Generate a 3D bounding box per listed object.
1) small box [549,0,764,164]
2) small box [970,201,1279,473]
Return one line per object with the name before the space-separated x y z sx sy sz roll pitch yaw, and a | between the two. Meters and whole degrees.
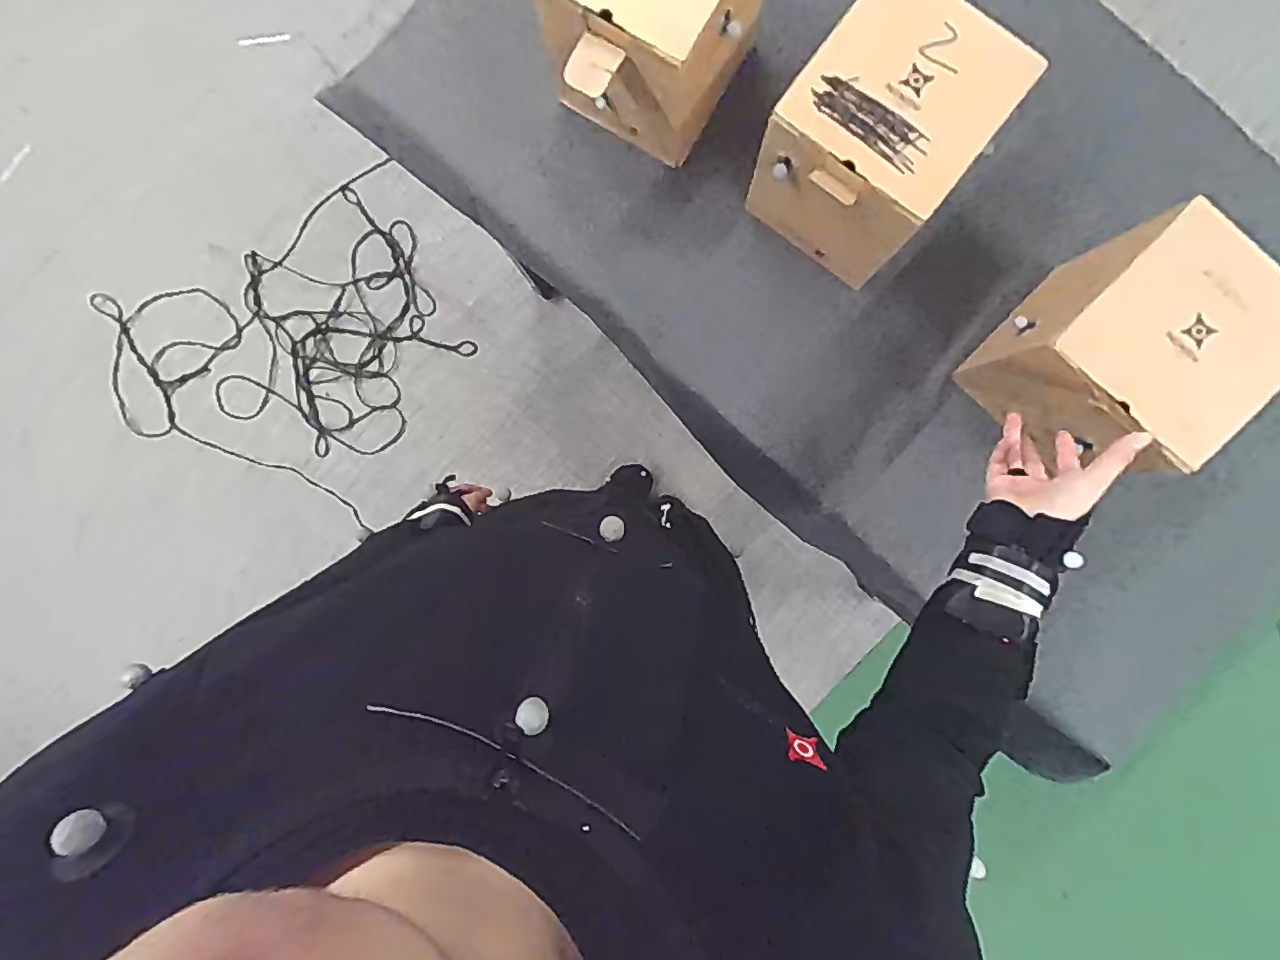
small box | 0.021 -0.479 0.555 0.168 0.176 0.179 31 92 2
small box | 0.474 -0.122 0.540 0.168 0.176 0.179 43 91 0
